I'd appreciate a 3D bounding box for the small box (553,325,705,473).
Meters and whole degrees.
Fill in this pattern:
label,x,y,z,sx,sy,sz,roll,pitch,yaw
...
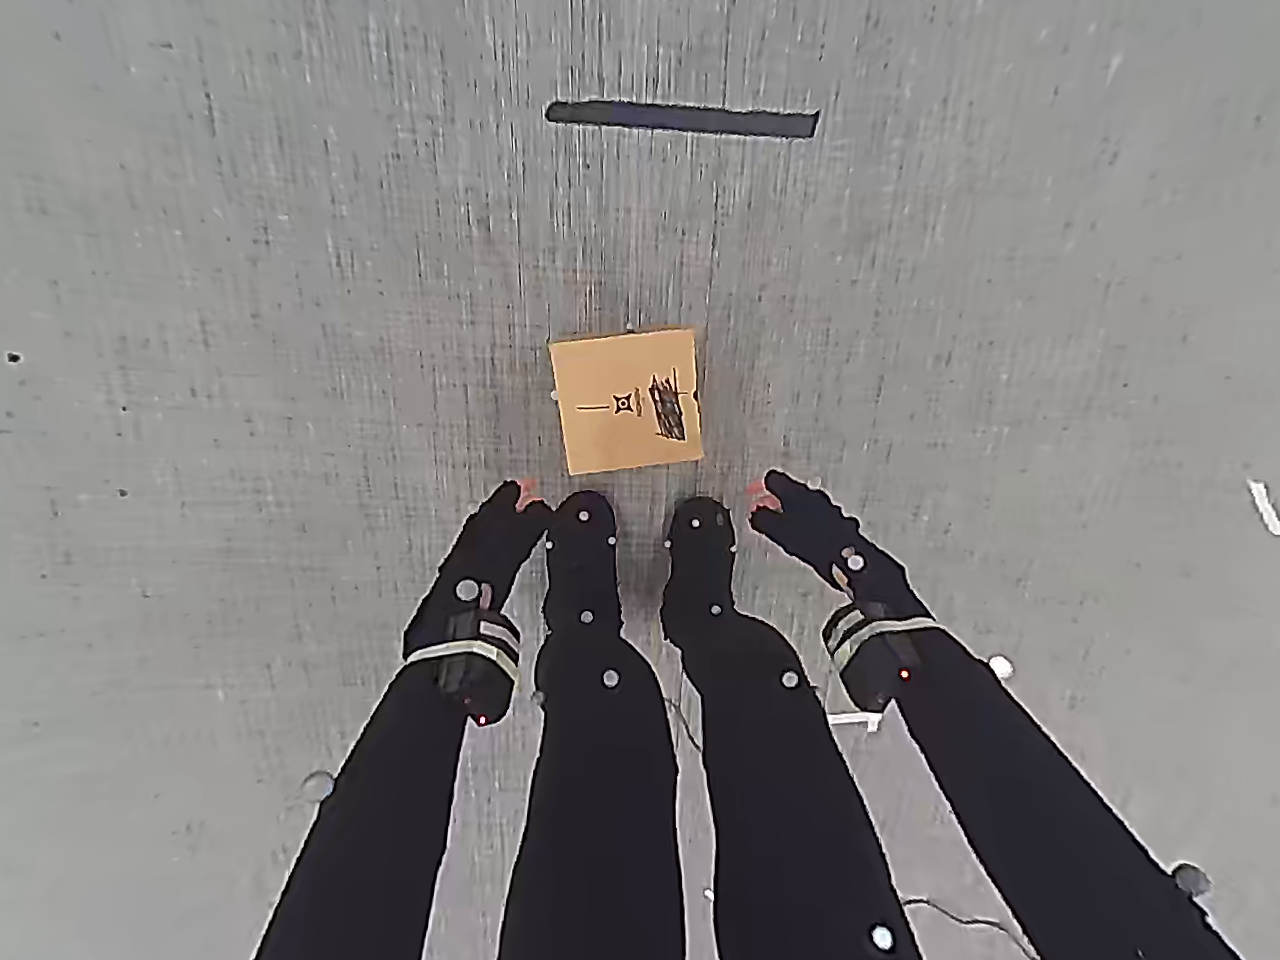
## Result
label,x,y,z,sx,sy,sz,roll,pitch,yaw
small box,-0.017,-0.118,0.734,0.179,0.176,0.168,-7,107,-2
